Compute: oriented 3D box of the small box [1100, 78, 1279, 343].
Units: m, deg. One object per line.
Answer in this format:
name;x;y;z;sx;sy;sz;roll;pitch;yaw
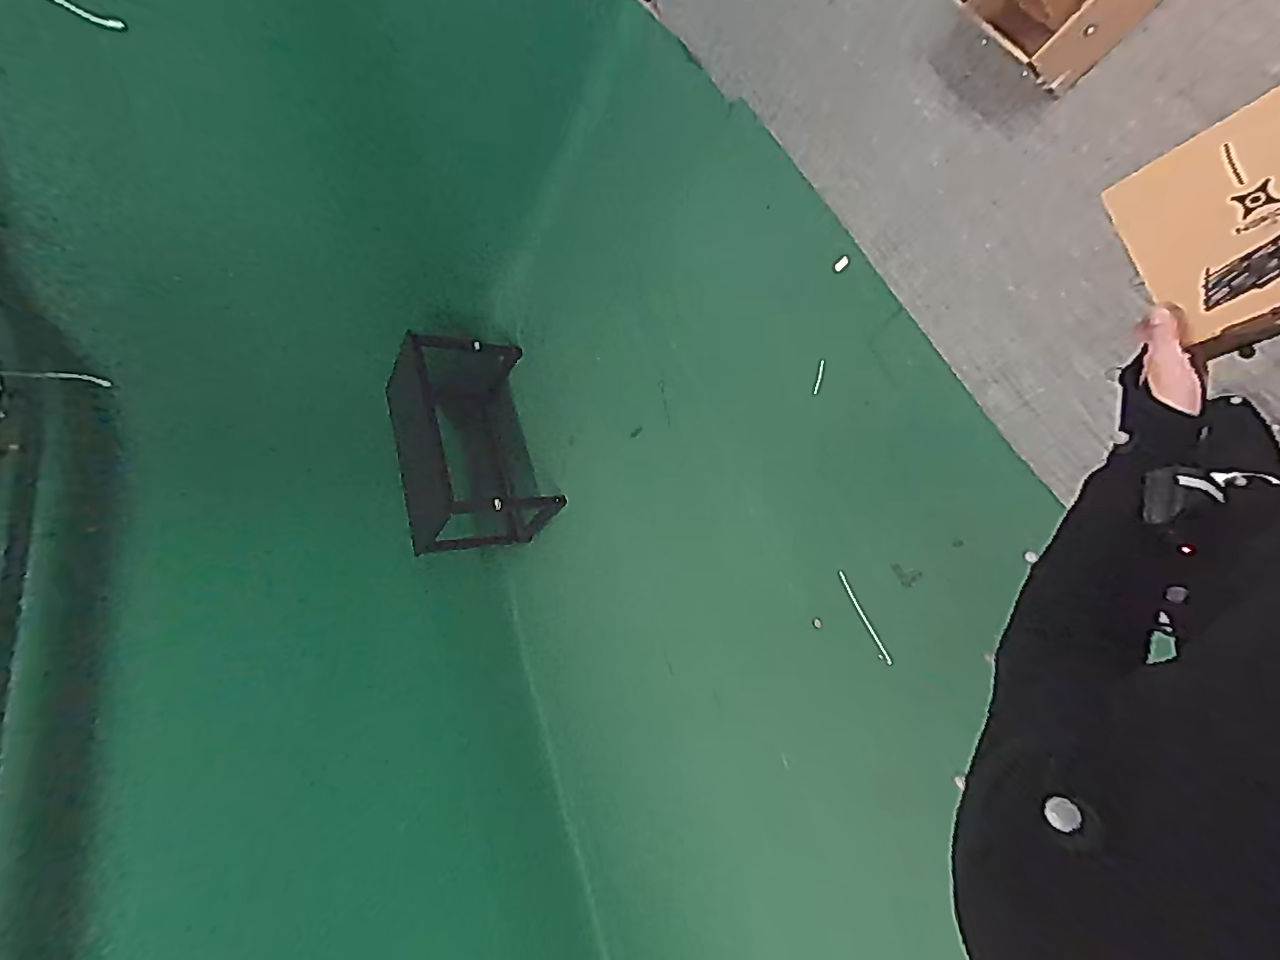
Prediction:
small box;0.588;-0.242;0.509;0.168;0.176;0.179;-30;70;50
